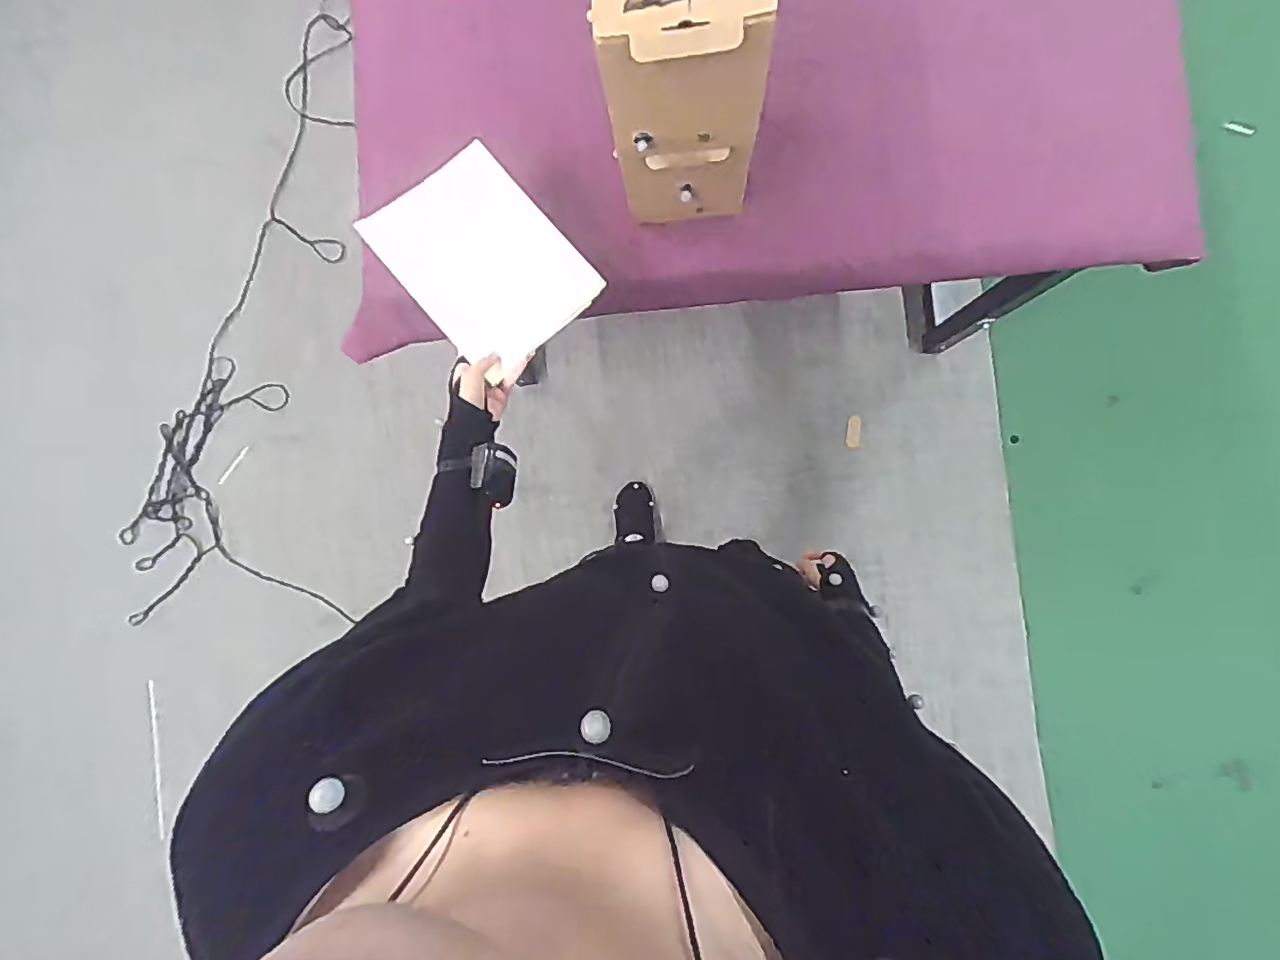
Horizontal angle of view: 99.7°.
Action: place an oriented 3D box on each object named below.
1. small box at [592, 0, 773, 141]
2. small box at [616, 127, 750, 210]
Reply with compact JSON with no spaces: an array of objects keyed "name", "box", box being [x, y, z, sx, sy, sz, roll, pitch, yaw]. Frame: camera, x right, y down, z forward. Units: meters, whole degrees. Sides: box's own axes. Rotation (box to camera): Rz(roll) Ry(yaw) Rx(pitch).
[{"name":"small box","box":[0.043,-0.489,0.569,0.168,0.176,0.179,-3,86,5]},{"name":"small box","box":[0.056,-0.489,0.734,0.168,0.176,0.179,-3,88,4]}]
